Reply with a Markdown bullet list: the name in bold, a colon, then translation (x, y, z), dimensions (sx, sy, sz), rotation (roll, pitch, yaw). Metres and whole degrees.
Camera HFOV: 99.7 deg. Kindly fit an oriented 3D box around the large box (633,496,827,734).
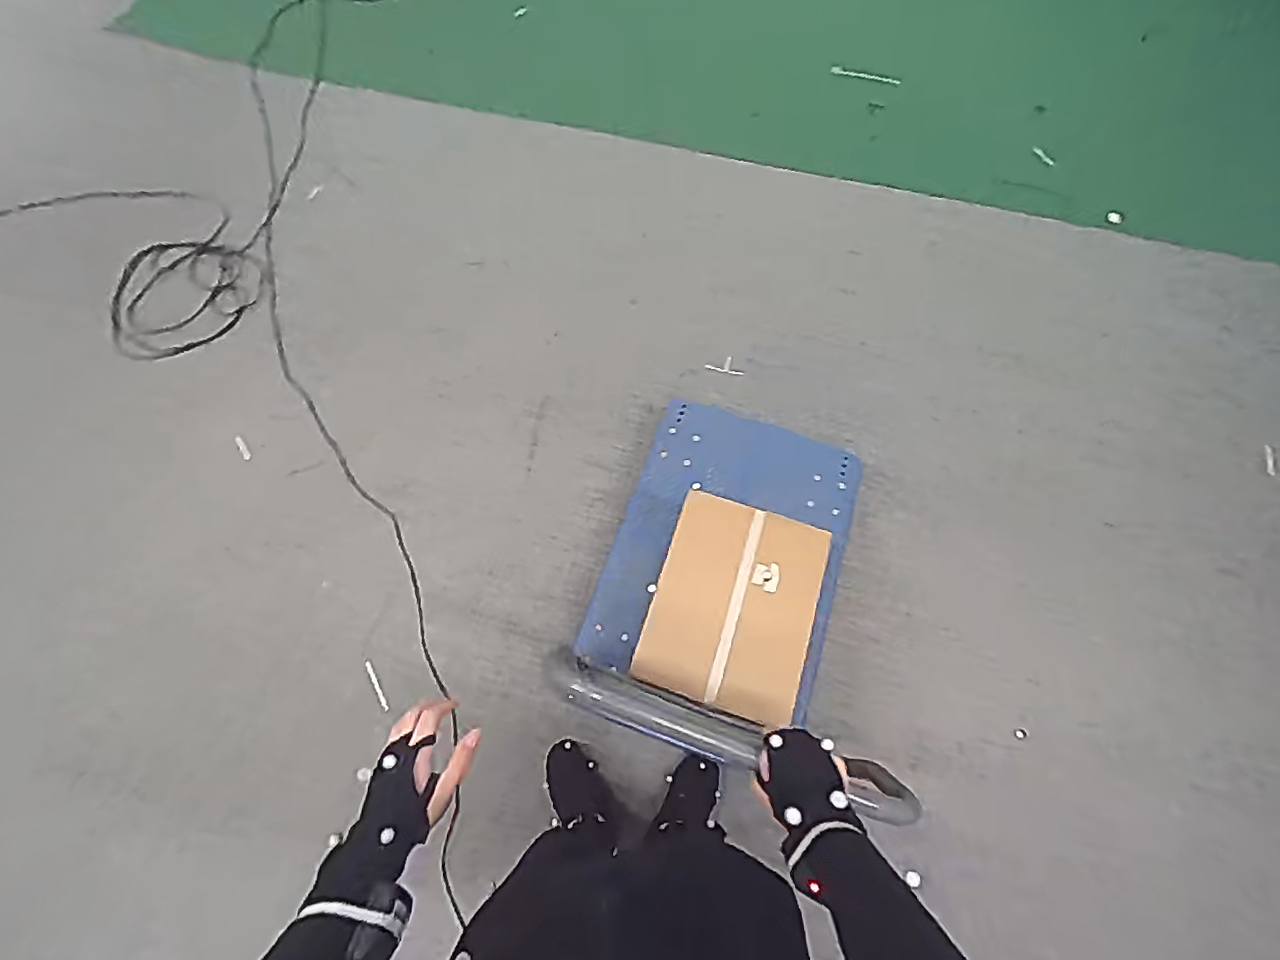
- **large box**: translation (0.188, 0.308, 1.209), dimensions (0.320, 0.320, 0.408), rotation (18, 68, 6)
